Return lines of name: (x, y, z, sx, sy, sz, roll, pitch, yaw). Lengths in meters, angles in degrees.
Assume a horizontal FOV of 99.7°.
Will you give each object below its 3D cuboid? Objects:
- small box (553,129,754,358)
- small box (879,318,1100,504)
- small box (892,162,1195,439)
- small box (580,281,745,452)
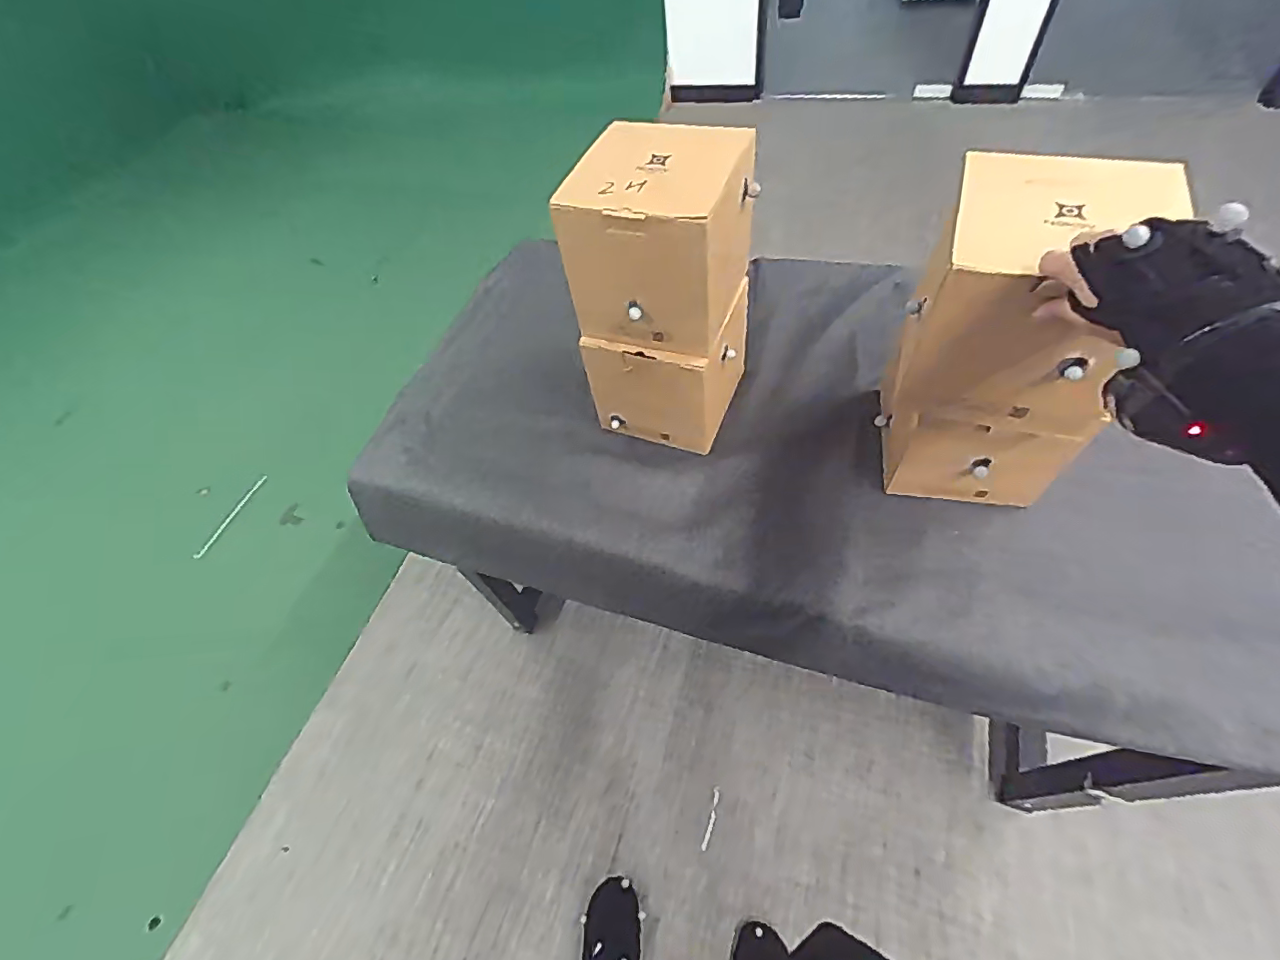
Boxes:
small box: (0.025, -0.270, 0.622, 0.168, 0.176, 0.179, 14, 59, 18)
small box: (0.392, -0.088, 0.645, 0.168, 0.176, 0.179, 6, 58, 12)
small box: (0.348, -0.164, 0.503, 0.168, 0.176, 0.179, 15, 58, 16)
small box: (0.041, -0.165, 0.749, 0.168, 0.176, 0.179, 16, 59, 18)
